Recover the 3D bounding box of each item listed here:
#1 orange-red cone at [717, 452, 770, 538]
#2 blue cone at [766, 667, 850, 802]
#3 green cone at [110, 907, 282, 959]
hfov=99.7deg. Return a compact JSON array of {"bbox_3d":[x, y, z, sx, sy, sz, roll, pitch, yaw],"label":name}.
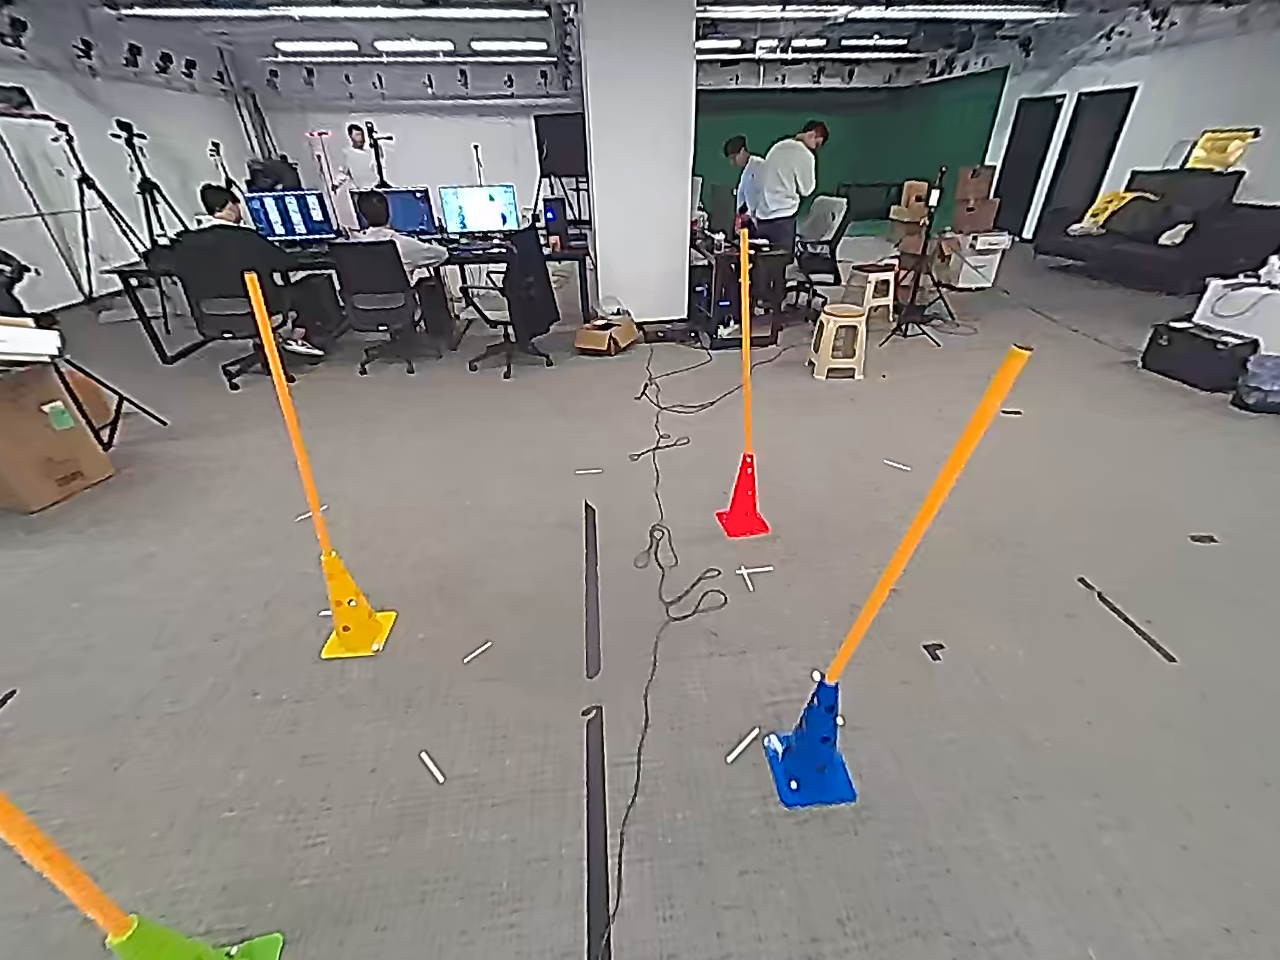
[{"bbox_3d":[0.451,0.044,2.315,0.199,0.360,0.198,-8,31,-8],"label":"orange-red cone"},{"bbox_3d":[0.445,0.625,1.368,0.193,0.380,0.192,-3,30,-2],"label":"blue cone"},{"bbox_3d":[-0.835,0.884,0.971,0.200,0.368,0.202,-10,30,-13],"label":"green cone"}]
